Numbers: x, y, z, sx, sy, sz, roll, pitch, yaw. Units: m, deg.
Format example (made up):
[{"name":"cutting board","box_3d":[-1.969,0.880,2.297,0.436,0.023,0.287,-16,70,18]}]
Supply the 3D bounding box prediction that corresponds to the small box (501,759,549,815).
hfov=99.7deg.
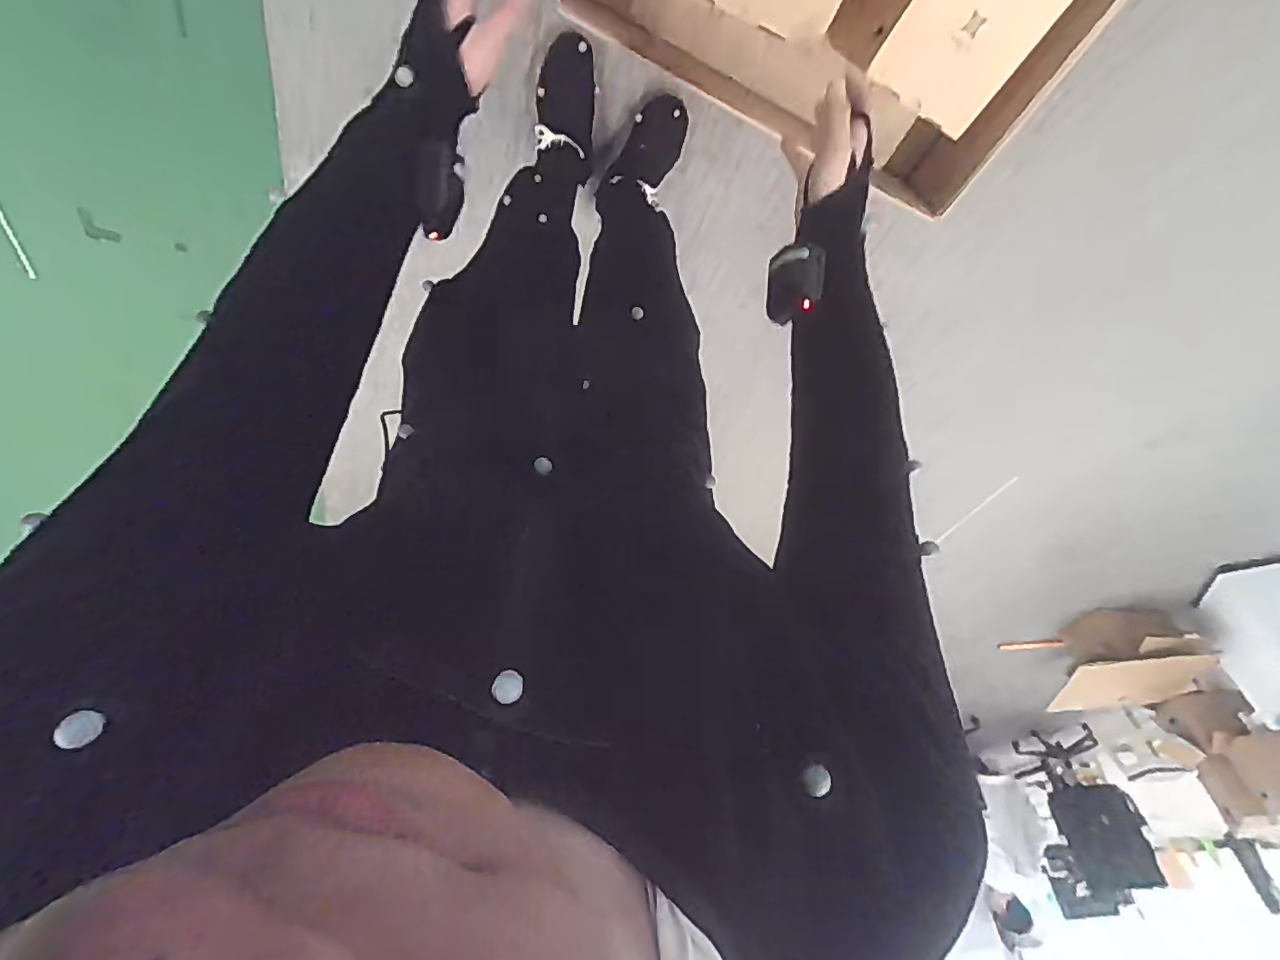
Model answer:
[{"name":"small box","box_3d":[-0.471,1.259,2.219,0.168,0.176,0.179,10,137,-11]}]
